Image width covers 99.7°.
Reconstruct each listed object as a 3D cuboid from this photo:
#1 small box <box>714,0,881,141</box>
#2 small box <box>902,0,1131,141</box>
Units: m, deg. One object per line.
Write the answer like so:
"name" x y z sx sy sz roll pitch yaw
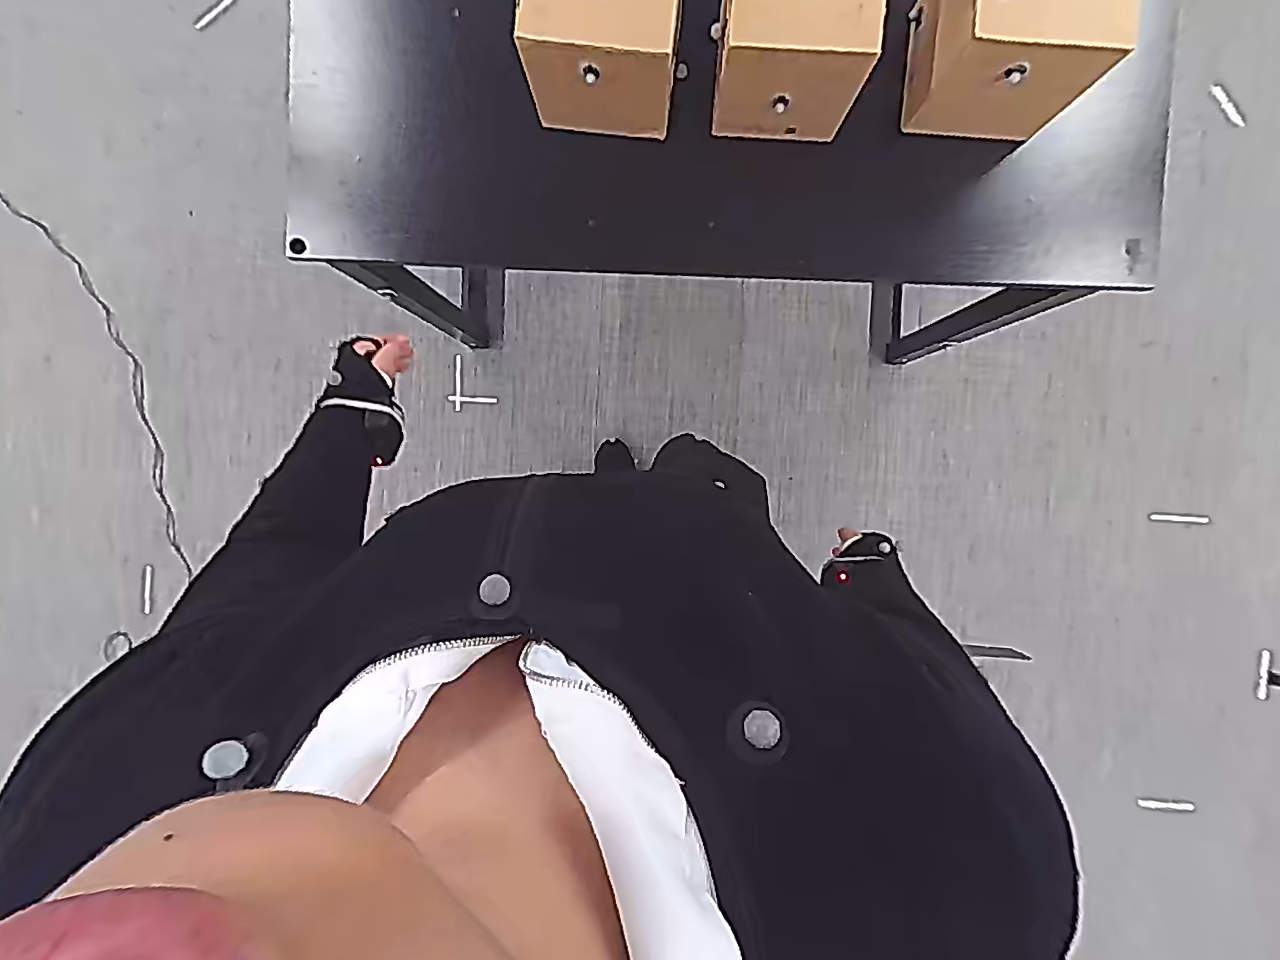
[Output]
"small box" 0.186 -0.554 0.669 0.168 0.176 0.179 5 92 1
"small box" 0.447 -0.549 0.663 0.179 0.176 0.168 5 92 1
